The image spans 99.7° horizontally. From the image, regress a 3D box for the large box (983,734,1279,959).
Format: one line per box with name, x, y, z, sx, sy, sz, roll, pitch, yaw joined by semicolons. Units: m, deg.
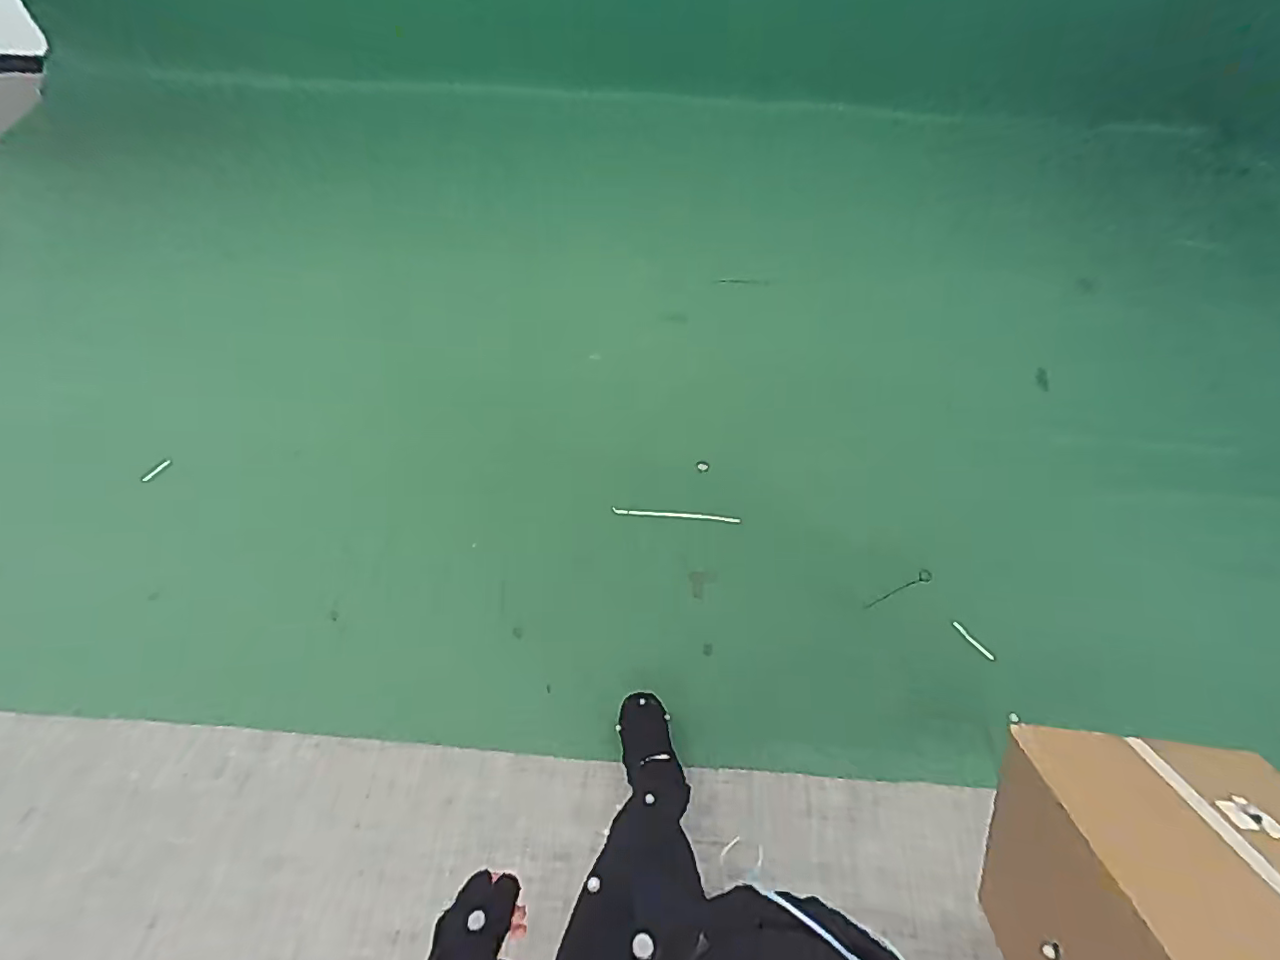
large box;0.654;0.568;0.617;0.320;0.408;0.320;3;102;11
